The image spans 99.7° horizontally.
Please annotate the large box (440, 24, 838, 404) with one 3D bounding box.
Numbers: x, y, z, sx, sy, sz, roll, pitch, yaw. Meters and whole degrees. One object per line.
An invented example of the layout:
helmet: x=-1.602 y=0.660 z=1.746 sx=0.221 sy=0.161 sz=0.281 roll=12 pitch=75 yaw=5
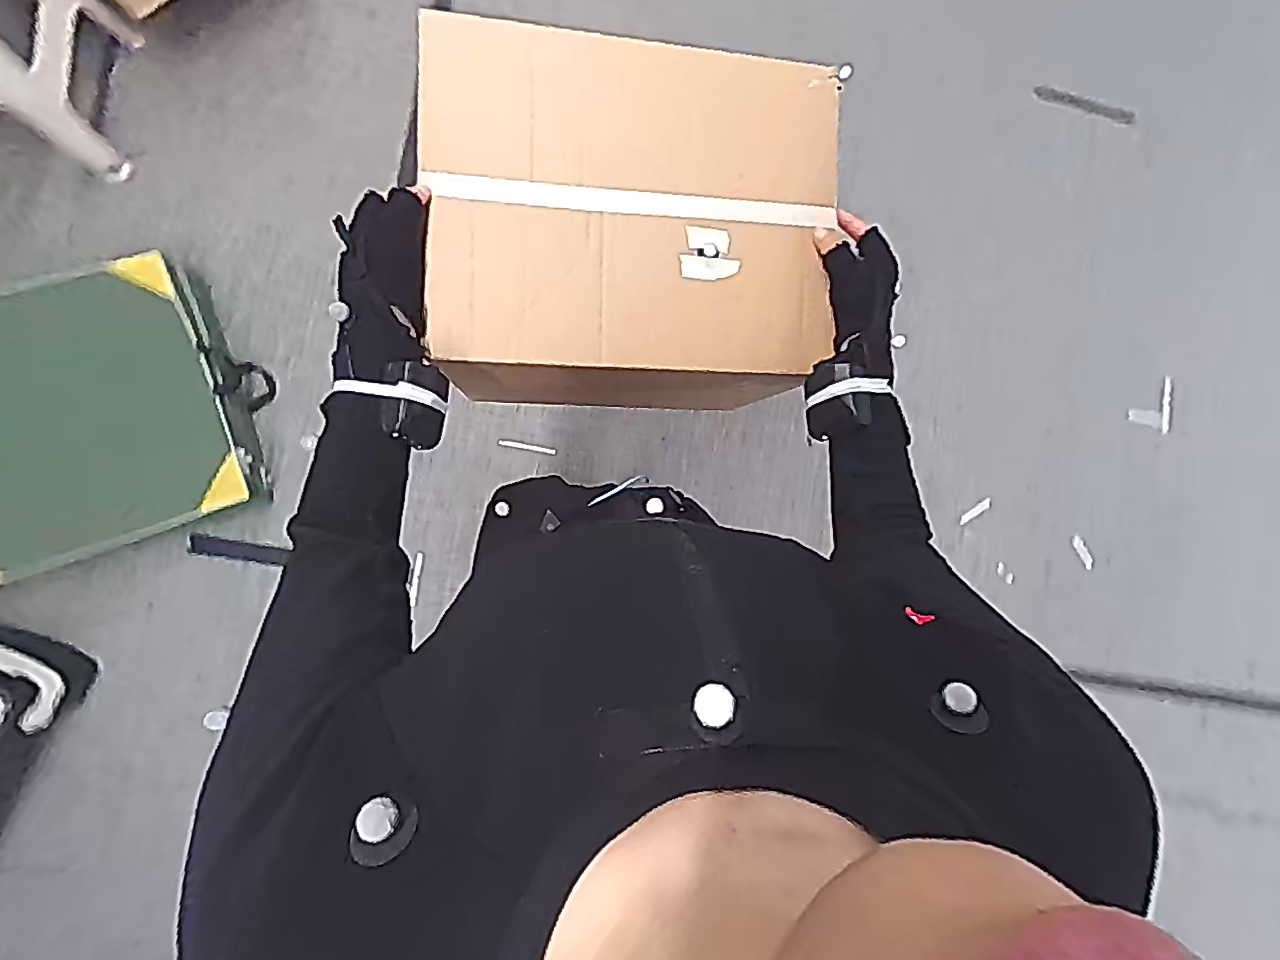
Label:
large box: x=-0.016 y=-0.274 z=0.685 sx=0.408 sy=0.320 sz=0.320 roll=2 pitch=92 yaw=-10
